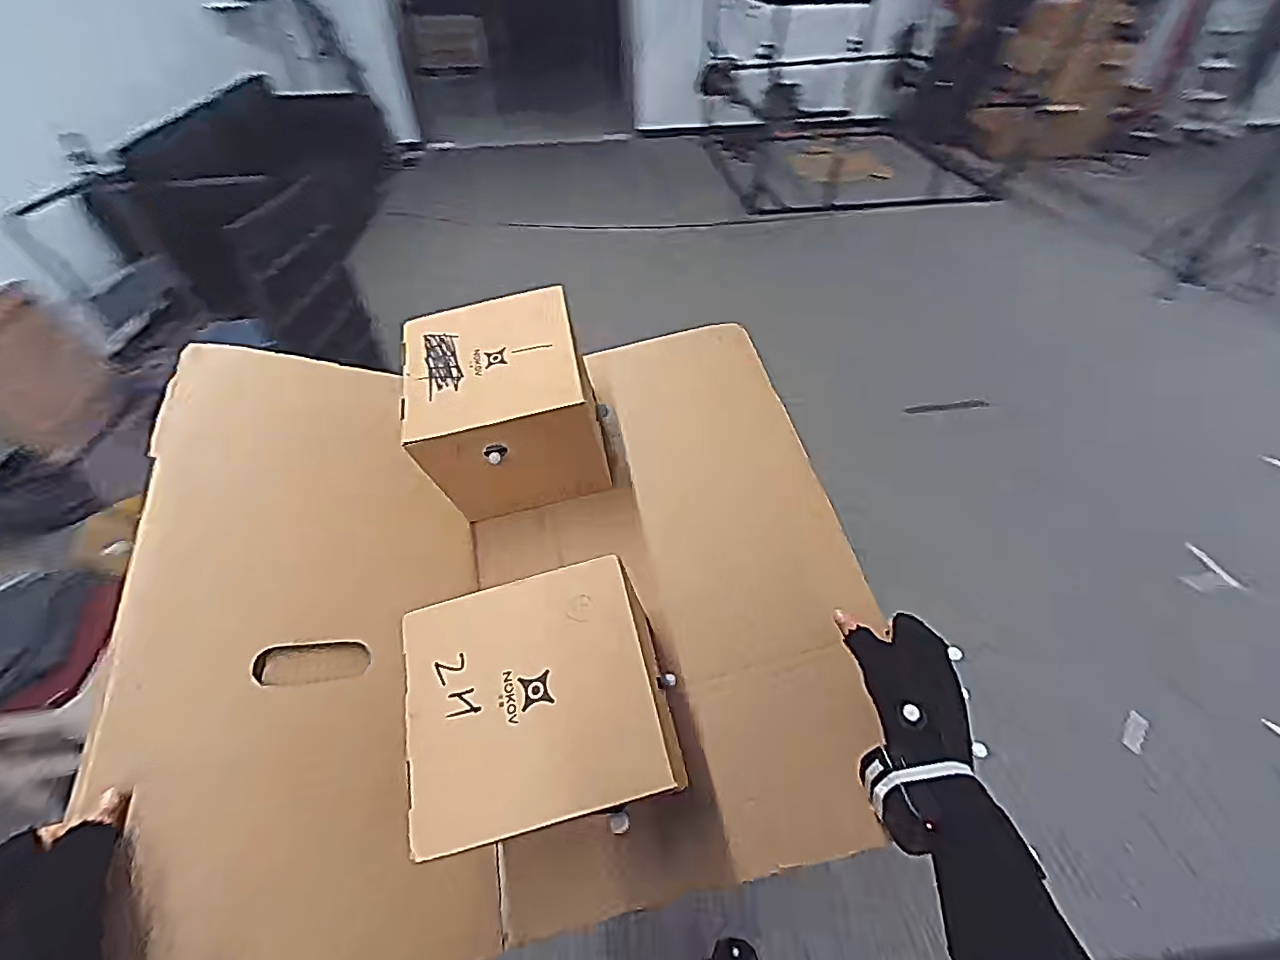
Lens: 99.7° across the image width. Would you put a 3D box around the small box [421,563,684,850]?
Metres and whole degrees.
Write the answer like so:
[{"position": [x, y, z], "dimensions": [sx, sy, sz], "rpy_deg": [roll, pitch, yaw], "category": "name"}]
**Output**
[{"position": [-0.064, 0.191, 0.460], "dimensions": [0.179, 0.176, 0.168], "rpy_deg": [-15, 59, 1], "category": "small box"}]
